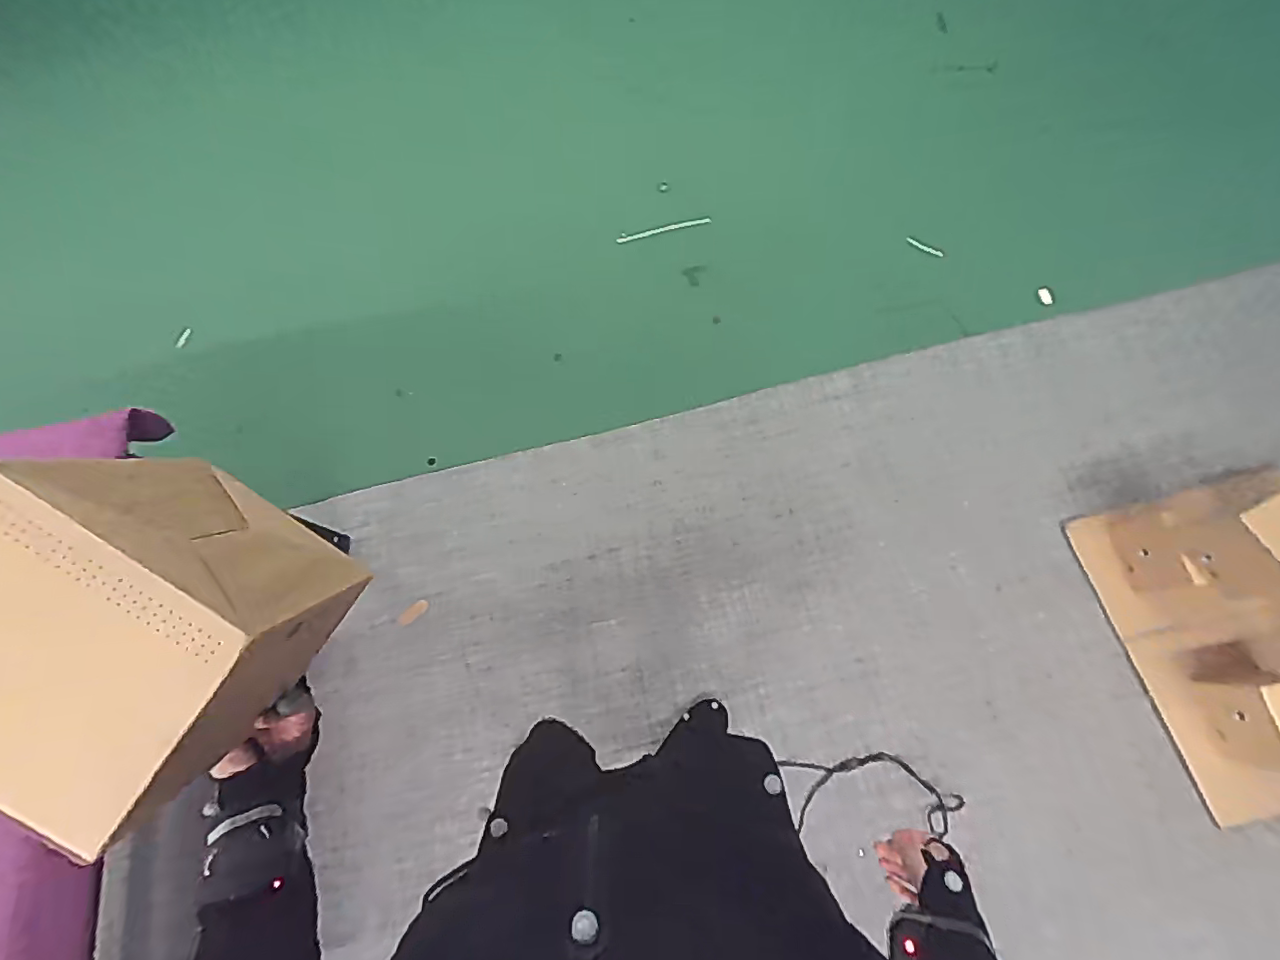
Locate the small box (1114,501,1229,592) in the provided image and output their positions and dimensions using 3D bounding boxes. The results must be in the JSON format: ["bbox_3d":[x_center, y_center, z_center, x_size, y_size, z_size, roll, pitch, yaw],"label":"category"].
[{"bbox_3d":[1.262,0.160,1.254,0.179,0.176,0.168,-9,72,1],"label":"small box"}]

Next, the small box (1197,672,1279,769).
[{"bbox_3d":[1.342,0.500,1.131,0.179,0.176,0.168,-10,71,0],"label":"small box"}]

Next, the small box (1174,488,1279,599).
[{"bbox_3d":[1.267,0.124,1.093,0.179,0.176,0.168,-26,71,-5],"label":"small box"}]
